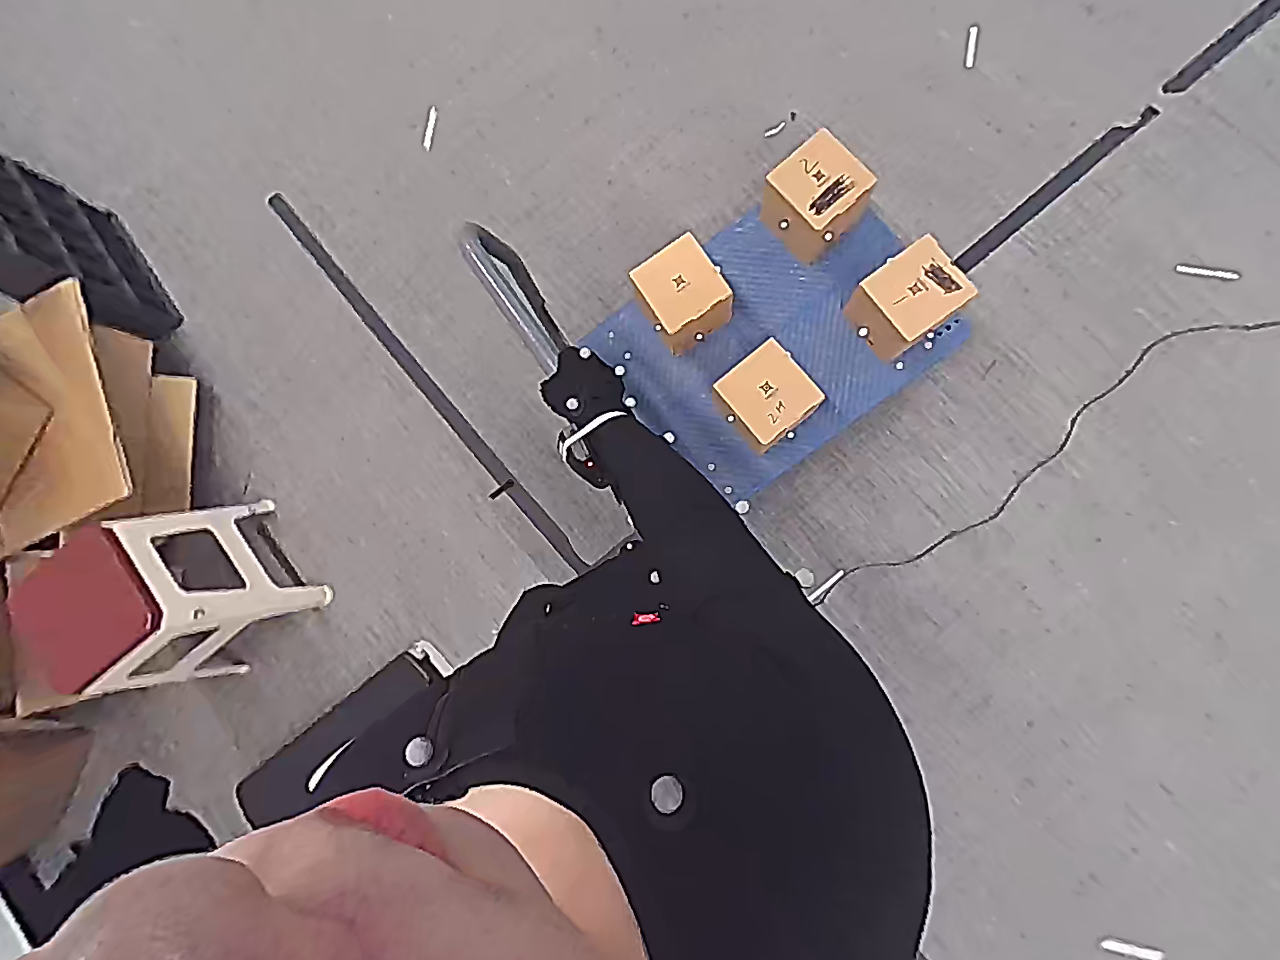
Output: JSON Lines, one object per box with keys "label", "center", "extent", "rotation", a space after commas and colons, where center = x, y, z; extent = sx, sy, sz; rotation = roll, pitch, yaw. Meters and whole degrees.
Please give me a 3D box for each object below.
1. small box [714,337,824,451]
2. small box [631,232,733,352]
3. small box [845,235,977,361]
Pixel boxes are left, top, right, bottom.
{"label": "small box", "center": [0.282, -0.185, 1.226], "extent": [0.168, 0.176, 0.179], "rotation": [-39, 82, 3]}
{"label": "small box", "center": [0.099, -0.431, 1.271], "extent": [0.168, 0.176, 0.179], "rotation": [-33, 84, 3]}
{"label": "small box", "center": [0.589, -0.394, 1.202], "extent": [0.179, 0.176, 0.168], "rotation": [-36, 82, 5]}
